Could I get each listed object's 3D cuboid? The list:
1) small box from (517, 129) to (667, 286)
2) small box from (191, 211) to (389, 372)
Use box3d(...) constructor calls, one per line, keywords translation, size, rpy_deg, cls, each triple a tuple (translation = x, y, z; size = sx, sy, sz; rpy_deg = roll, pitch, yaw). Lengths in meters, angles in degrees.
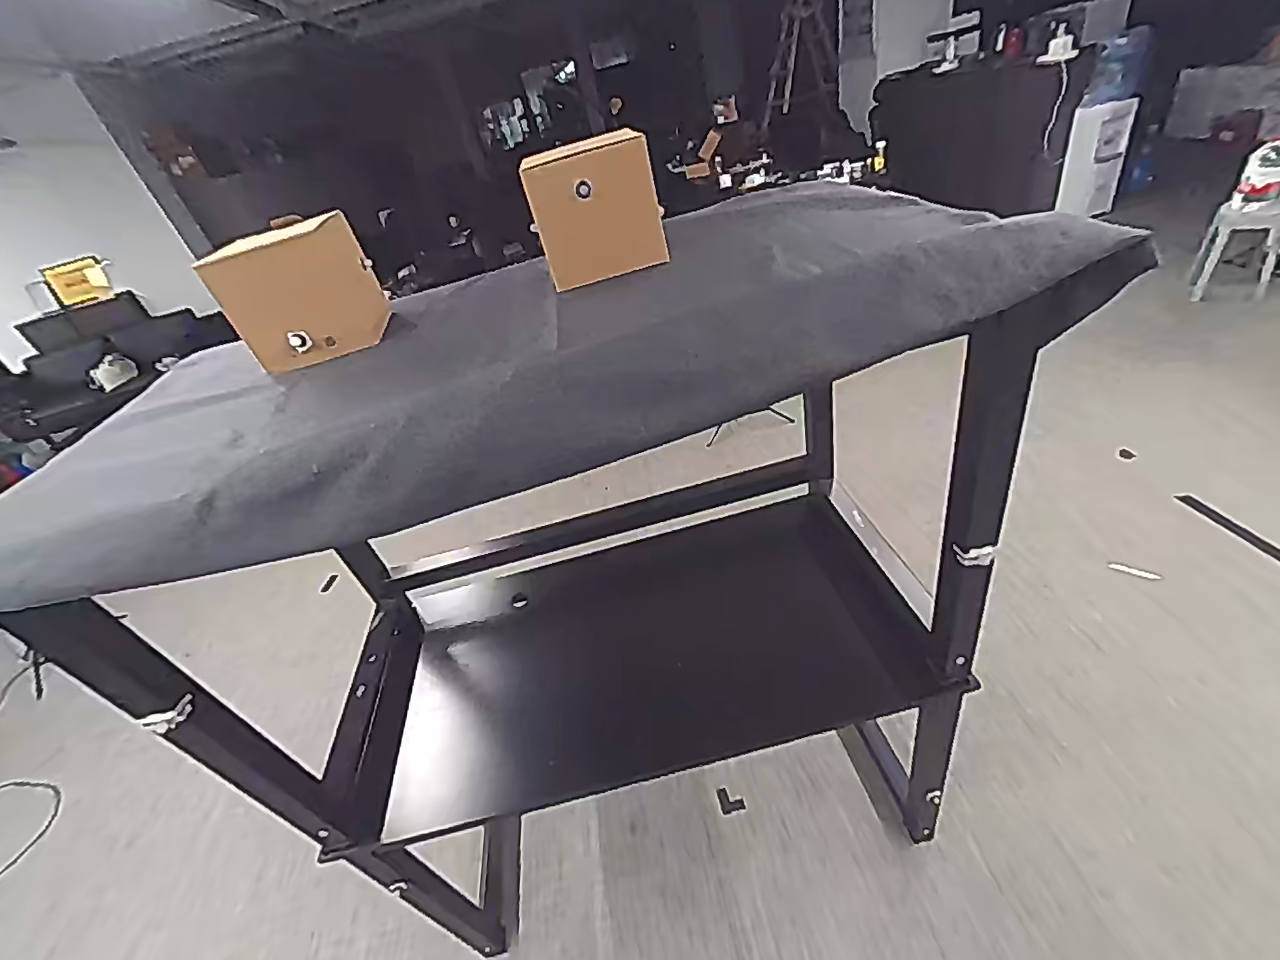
box3d(translation=(-0.070, -0.409, 0.816), size=(0.179, 0.176, 0.168), rpy_deg=(-15, 36, 1), cls="small box")
box3d(translation=(-0.501, -0.283, 0.811), size=(0.168, 0.176, 0.179), rpy_deg=(-19, 36, -3), cls="small box")
